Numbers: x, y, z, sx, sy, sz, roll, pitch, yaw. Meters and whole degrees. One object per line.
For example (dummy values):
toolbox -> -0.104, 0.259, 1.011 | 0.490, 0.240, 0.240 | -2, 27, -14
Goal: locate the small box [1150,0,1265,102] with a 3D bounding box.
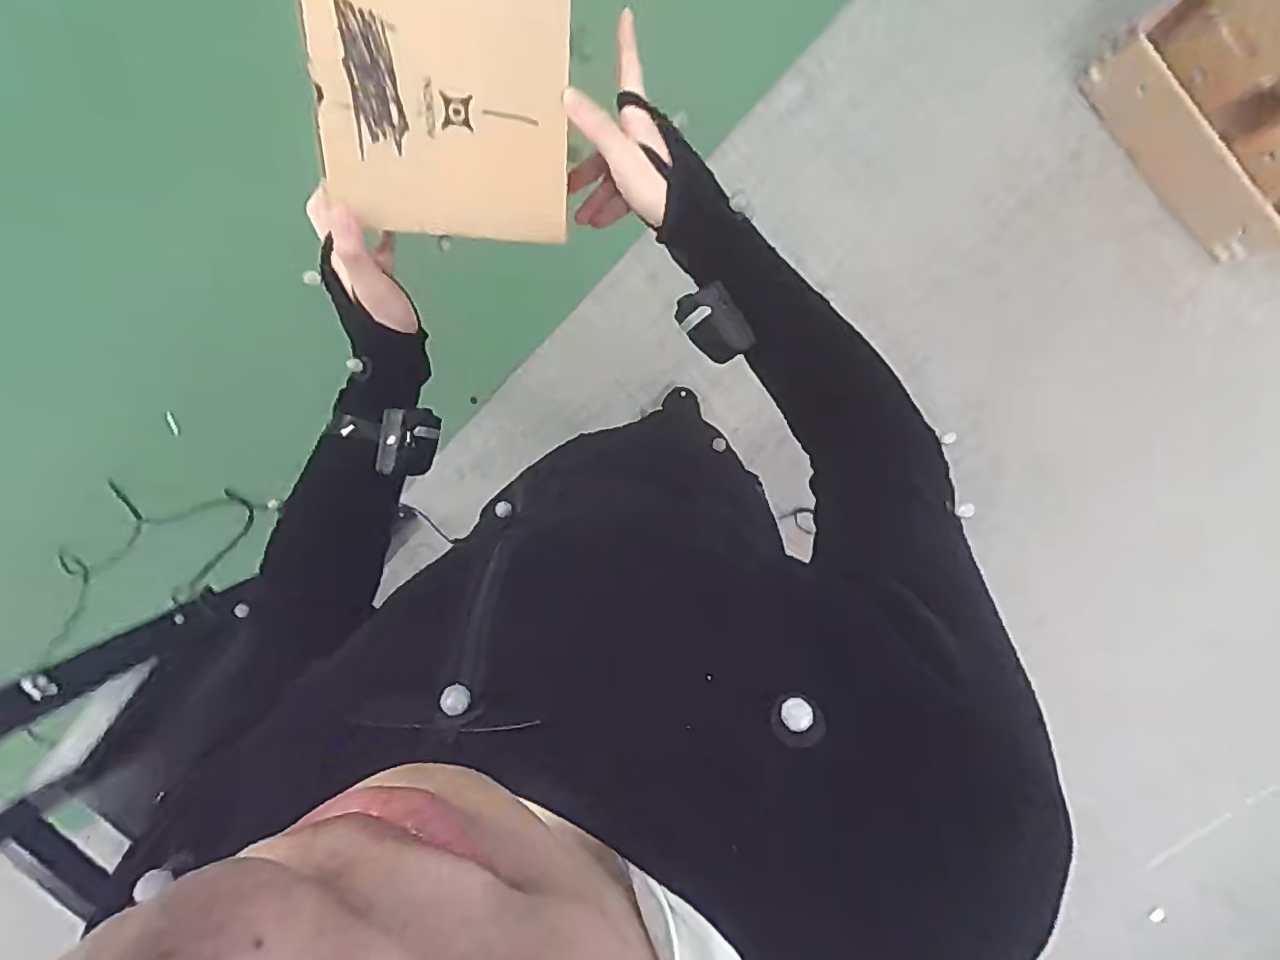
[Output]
small box -> 1.305, -0.999, 1.203 | 0.168, 0.176, 0.179 | 44, 102, -7

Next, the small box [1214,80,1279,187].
small box -> 1.486, -0.812, 1.231 | 0.168, 0.176, 0.179 | 45, 102, -5

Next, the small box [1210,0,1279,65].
small box -> 1.291, -0.969, 1.042 | 0.179, 0.176, 0.168 | -39, 96, 10

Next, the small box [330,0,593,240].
small box -> -0.138, -0.303, 0.464 | 0.179, 0.176, 0.168 | 1, 114, -11
